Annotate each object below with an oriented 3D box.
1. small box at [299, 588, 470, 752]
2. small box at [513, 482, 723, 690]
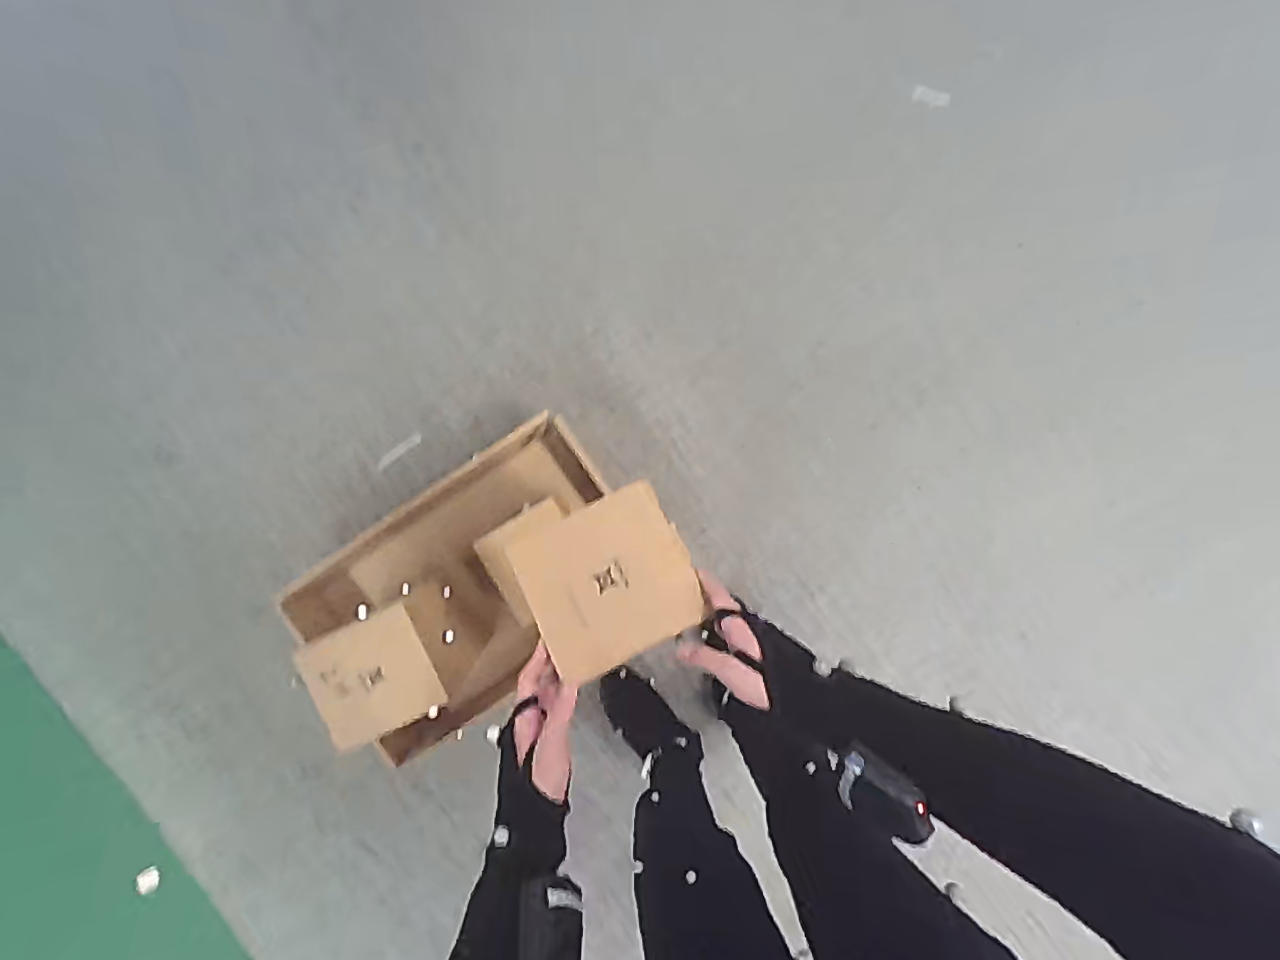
[{"bbox_3d":[-0.393,0.292,0.875,0.179,0.176,0.168,-25,90,-3],"label":"small box"},{"bbox_3d":[-0.026,0.128,0.640,0.179,0.176,0.168,-25,73,-7],"label":"small box"}]
